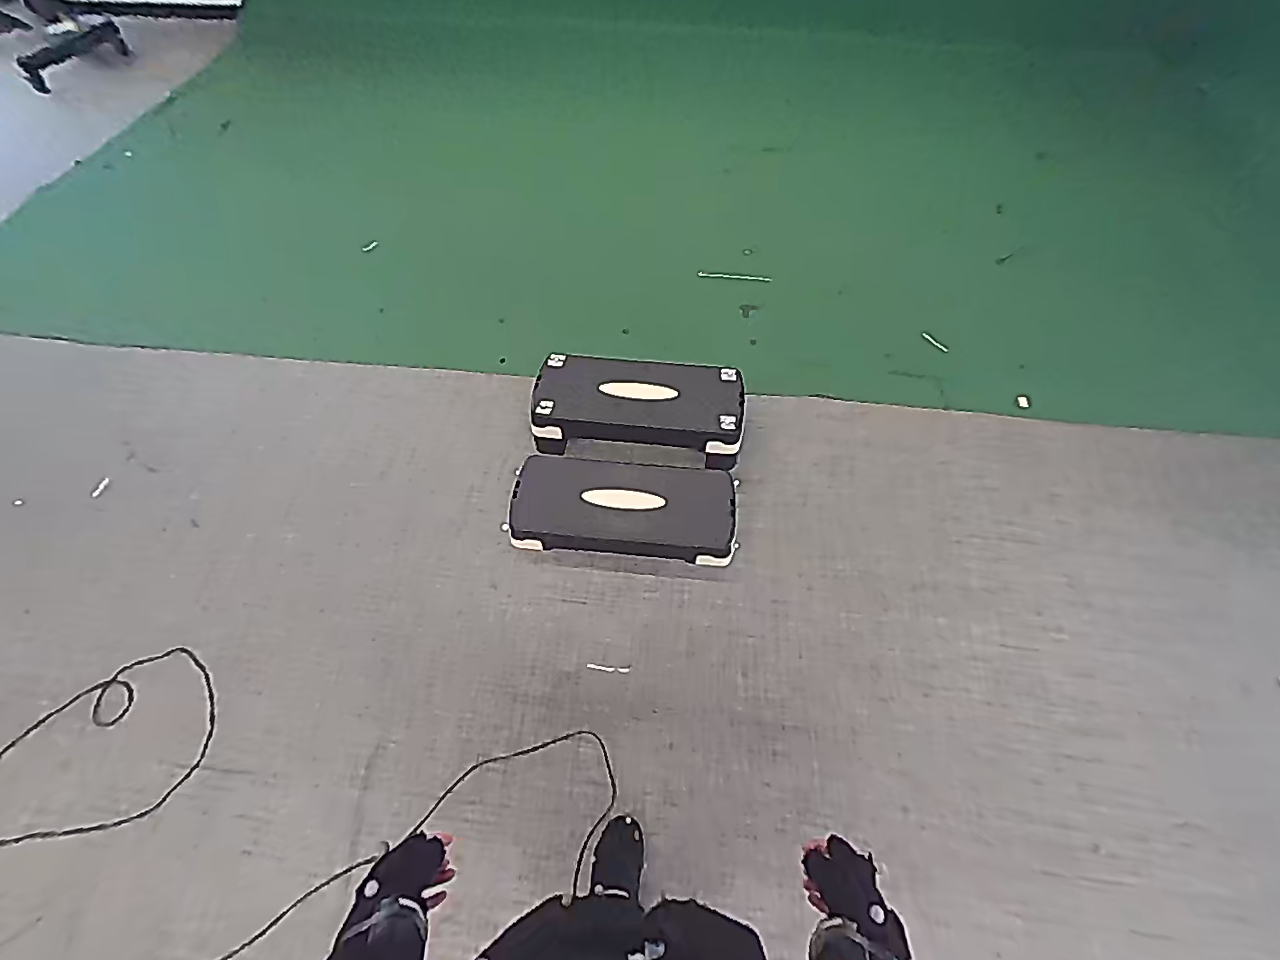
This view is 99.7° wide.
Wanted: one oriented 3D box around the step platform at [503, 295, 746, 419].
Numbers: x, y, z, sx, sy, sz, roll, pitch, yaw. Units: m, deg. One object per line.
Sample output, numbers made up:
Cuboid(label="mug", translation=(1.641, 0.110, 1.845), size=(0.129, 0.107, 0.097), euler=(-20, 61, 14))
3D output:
Cuboid(label="step platform", translation=(-0.041, -0.361, 1.607), size=(0.684, 0.204, 0.286), euler=(5, 58, 4))
